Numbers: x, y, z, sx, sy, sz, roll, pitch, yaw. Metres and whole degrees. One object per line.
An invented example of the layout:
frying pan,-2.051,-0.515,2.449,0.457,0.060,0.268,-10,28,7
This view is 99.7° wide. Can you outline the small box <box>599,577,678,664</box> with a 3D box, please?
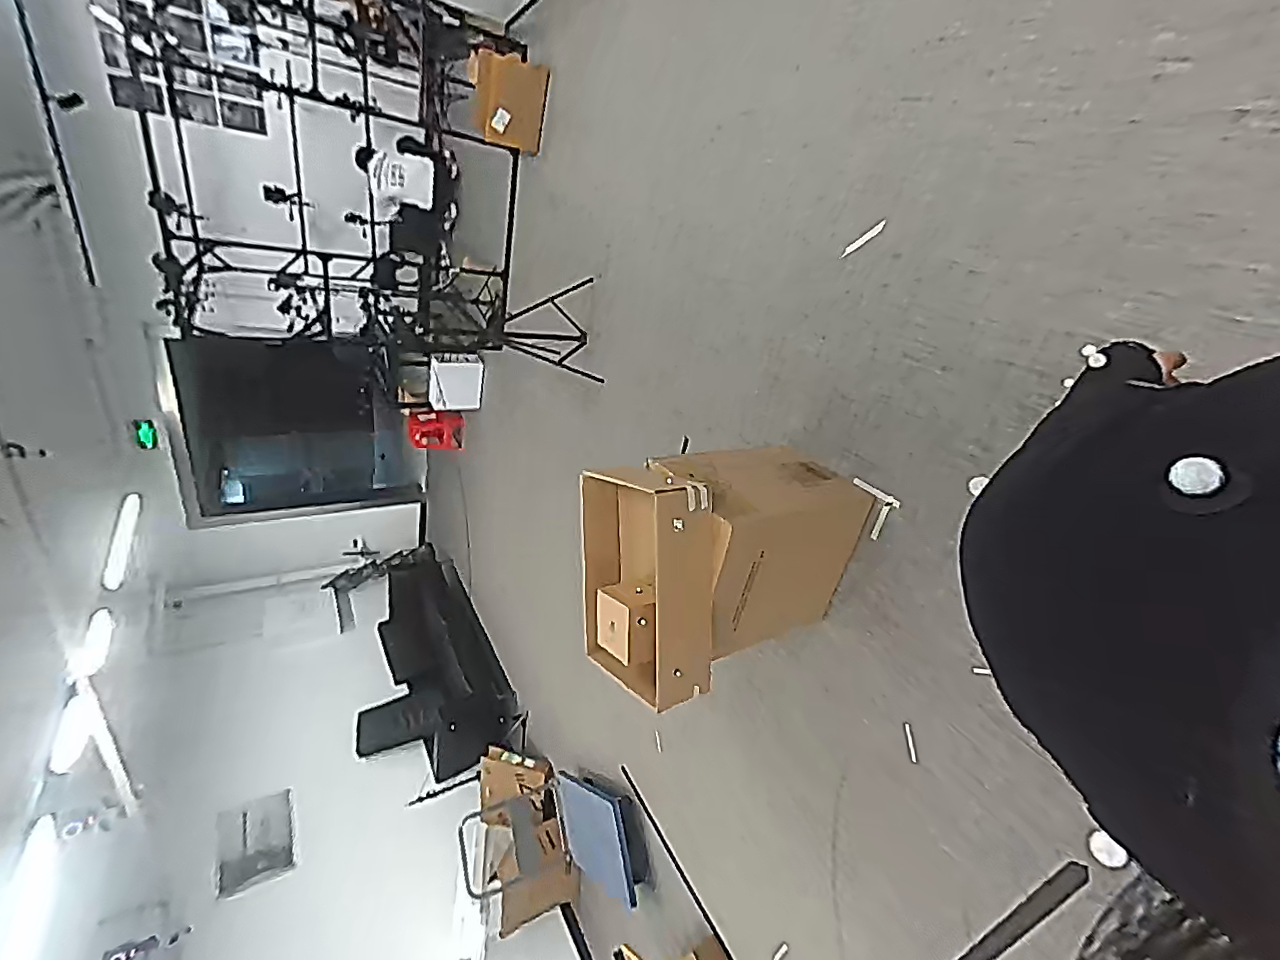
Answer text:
small box,-0.004,0.398,1.570,0.168,0.176,0.179,17,110,54
